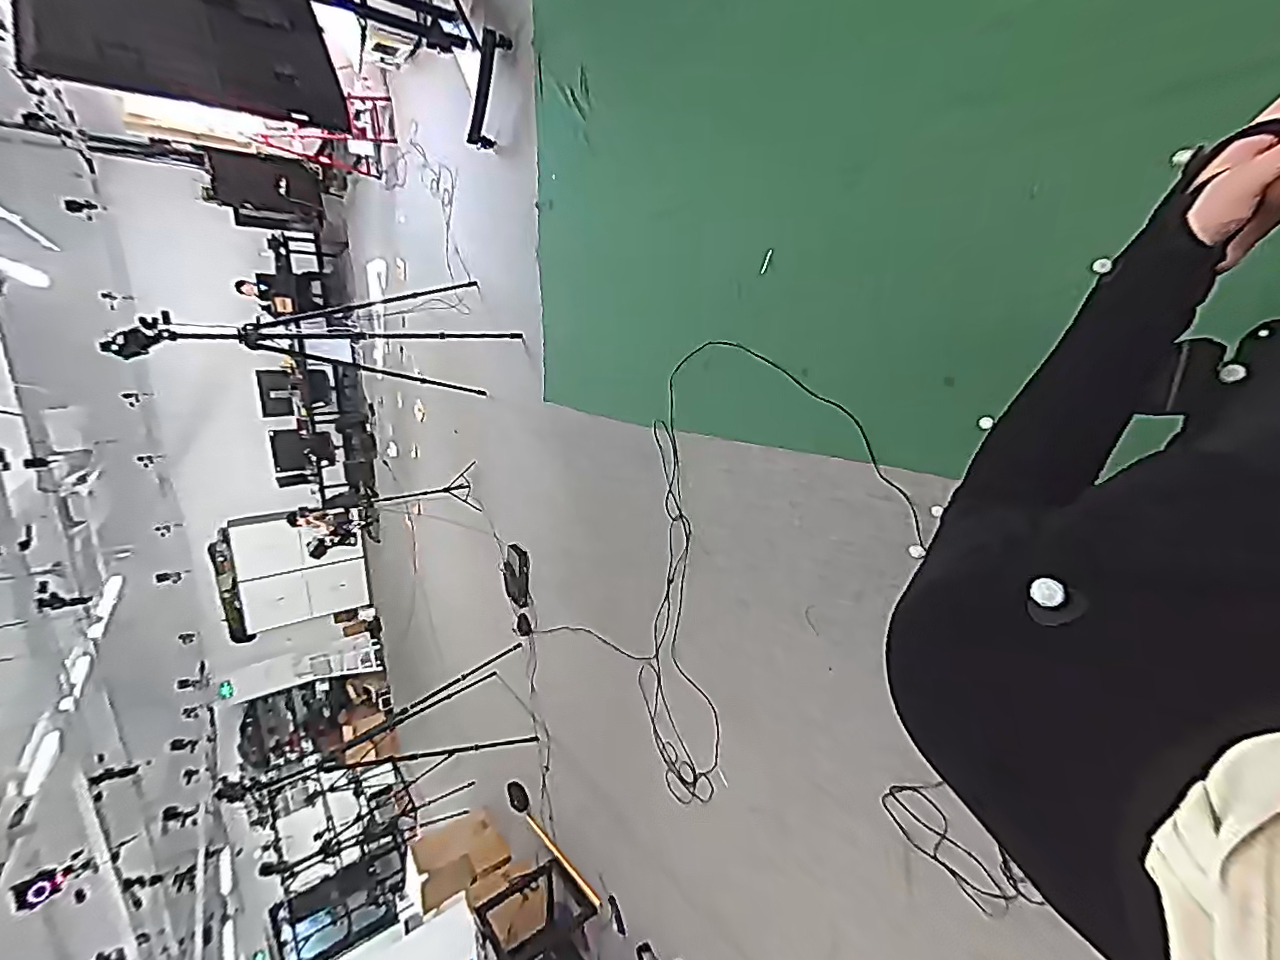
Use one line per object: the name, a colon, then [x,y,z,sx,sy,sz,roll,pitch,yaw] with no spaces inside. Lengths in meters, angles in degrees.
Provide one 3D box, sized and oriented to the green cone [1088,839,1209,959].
green cone: [1.118,1.053,1.240,0.202,0.368,0.200,19,113,50]
